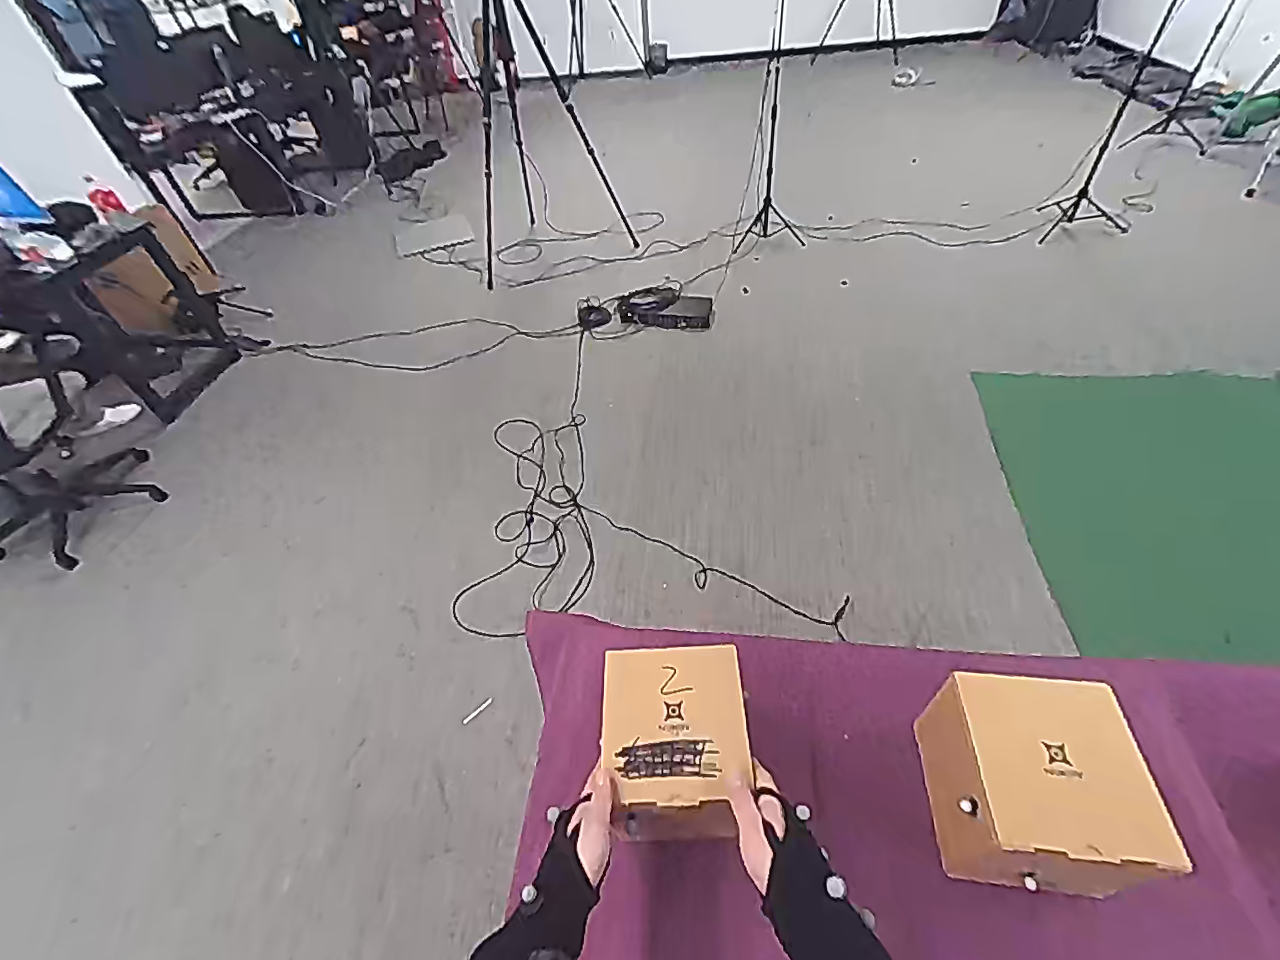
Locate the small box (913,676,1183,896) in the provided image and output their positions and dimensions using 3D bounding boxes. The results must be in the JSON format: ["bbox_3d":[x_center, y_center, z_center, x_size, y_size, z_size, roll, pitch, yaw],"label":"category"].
[{"bbox_3d":[0.436,0.351,0.622,0.168,0.176,0.179,3,48,8],"label":"small box"}]
